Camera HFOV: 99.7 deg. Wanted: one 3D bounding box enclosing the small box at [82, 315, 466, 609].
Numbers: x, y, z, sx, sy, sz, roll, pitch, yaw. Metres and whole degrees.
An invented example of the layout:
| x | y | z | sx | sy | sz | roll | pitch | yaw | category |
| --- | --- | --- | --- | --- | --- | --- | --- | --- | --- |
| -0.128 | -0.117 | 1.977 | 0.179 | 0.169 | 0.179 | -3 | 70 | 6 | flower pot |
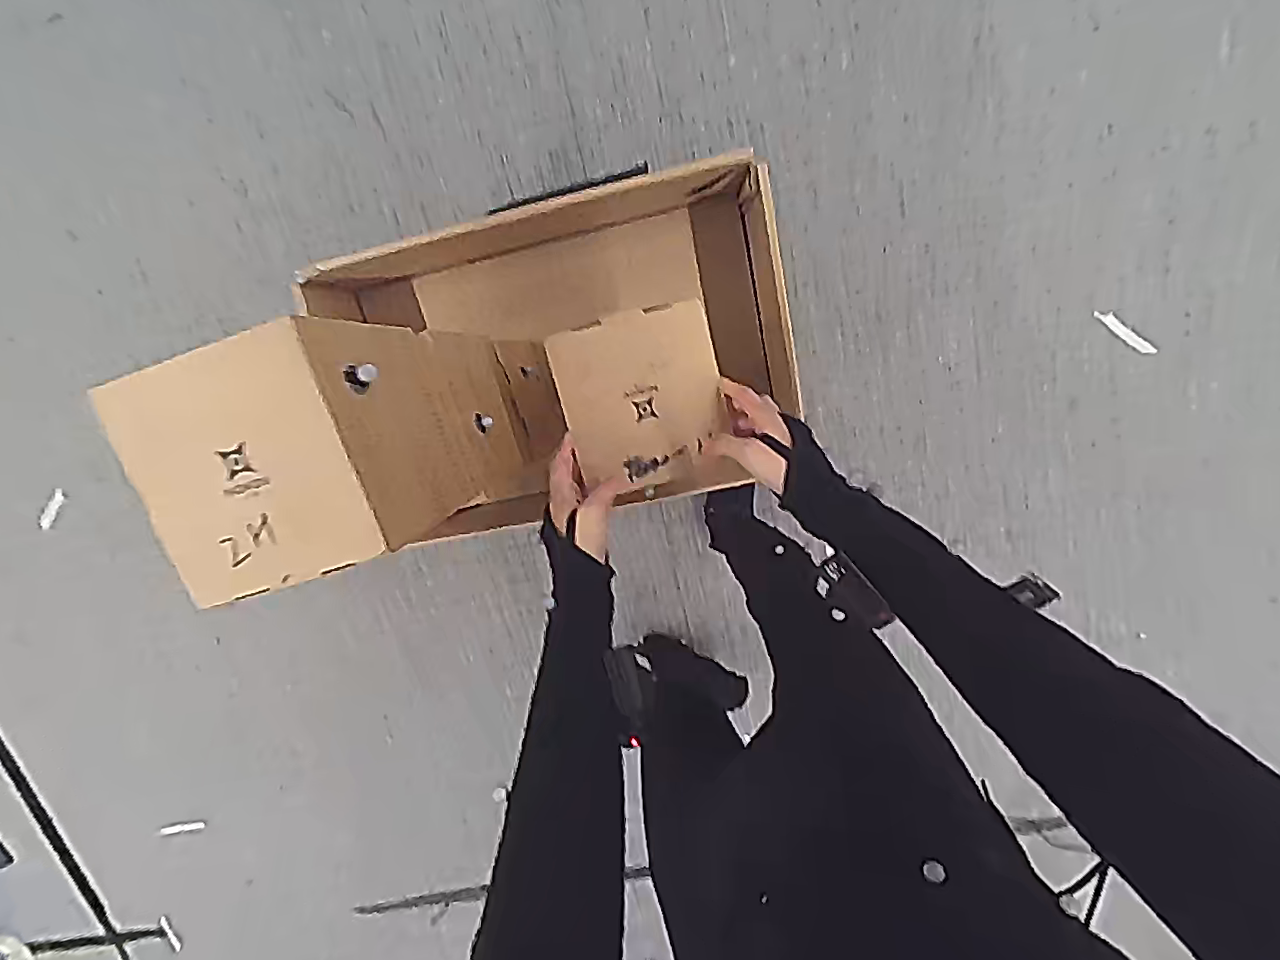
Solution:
| x | y | z | sx | sy | sz | roll | pitch | yaw | category |
| --- | --- | --- | --- | --- | --- | --- | --- | --- | --- |
| -0.276 | -0.023 | 0.454 | 0.168 | 0.176 | 0.179 | -16 | 102 | 8 | small box |

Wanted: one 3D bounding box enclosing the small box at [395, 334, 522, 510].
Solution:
| x | y | z | sx | sy | sz | roll | pitch | yaw | category |
| --- | --- | --- | --- | --- | --- | --- | --- | --- | --- |
| -0.252 | -0.059 | 0.615 | 0.168 | 0.176 | 0.179 | -15 | 102 | 7 | small box |

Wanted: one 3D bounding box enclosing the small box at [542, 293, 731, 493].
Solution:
| x | y | z | sx | sy | sz | roll | pitch | yaw | category |
| --- | --- | --- | --- | --- | --- | --- | --- | --- | --- |
| -0.008 | -0.096 | 0.633 | 0.168 | 0.176 | 0.179 | -15 | 98 | -1 | small box |
